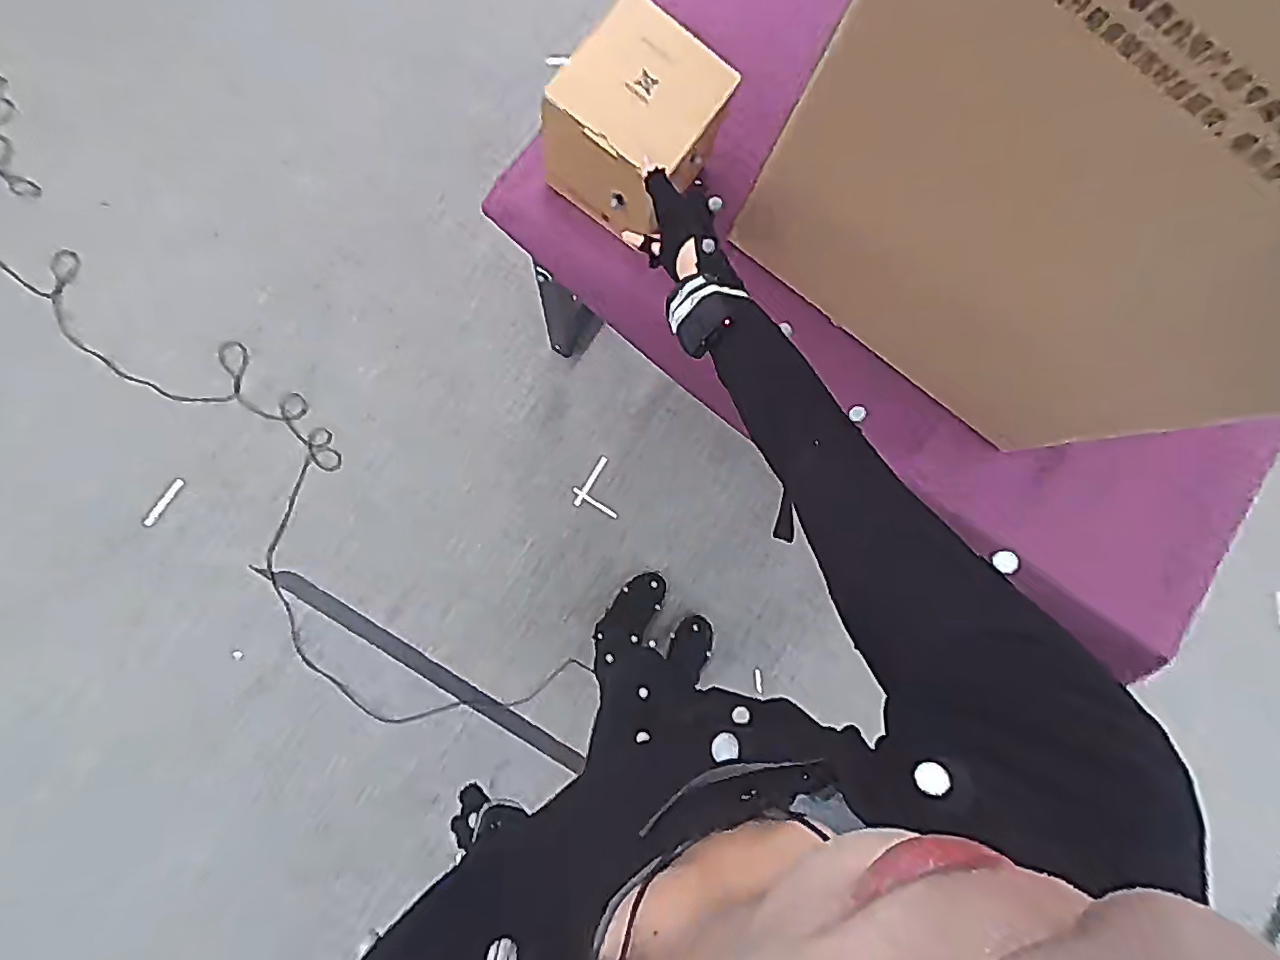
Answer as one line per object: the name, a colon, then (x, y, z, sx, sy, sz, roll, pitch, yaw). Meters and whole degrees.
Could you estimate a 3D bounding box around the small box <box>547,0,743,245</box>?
small box: (-0.002, -0.445, 0.695, 0.168, 0.176, 0.179, 36, 82, -6)
